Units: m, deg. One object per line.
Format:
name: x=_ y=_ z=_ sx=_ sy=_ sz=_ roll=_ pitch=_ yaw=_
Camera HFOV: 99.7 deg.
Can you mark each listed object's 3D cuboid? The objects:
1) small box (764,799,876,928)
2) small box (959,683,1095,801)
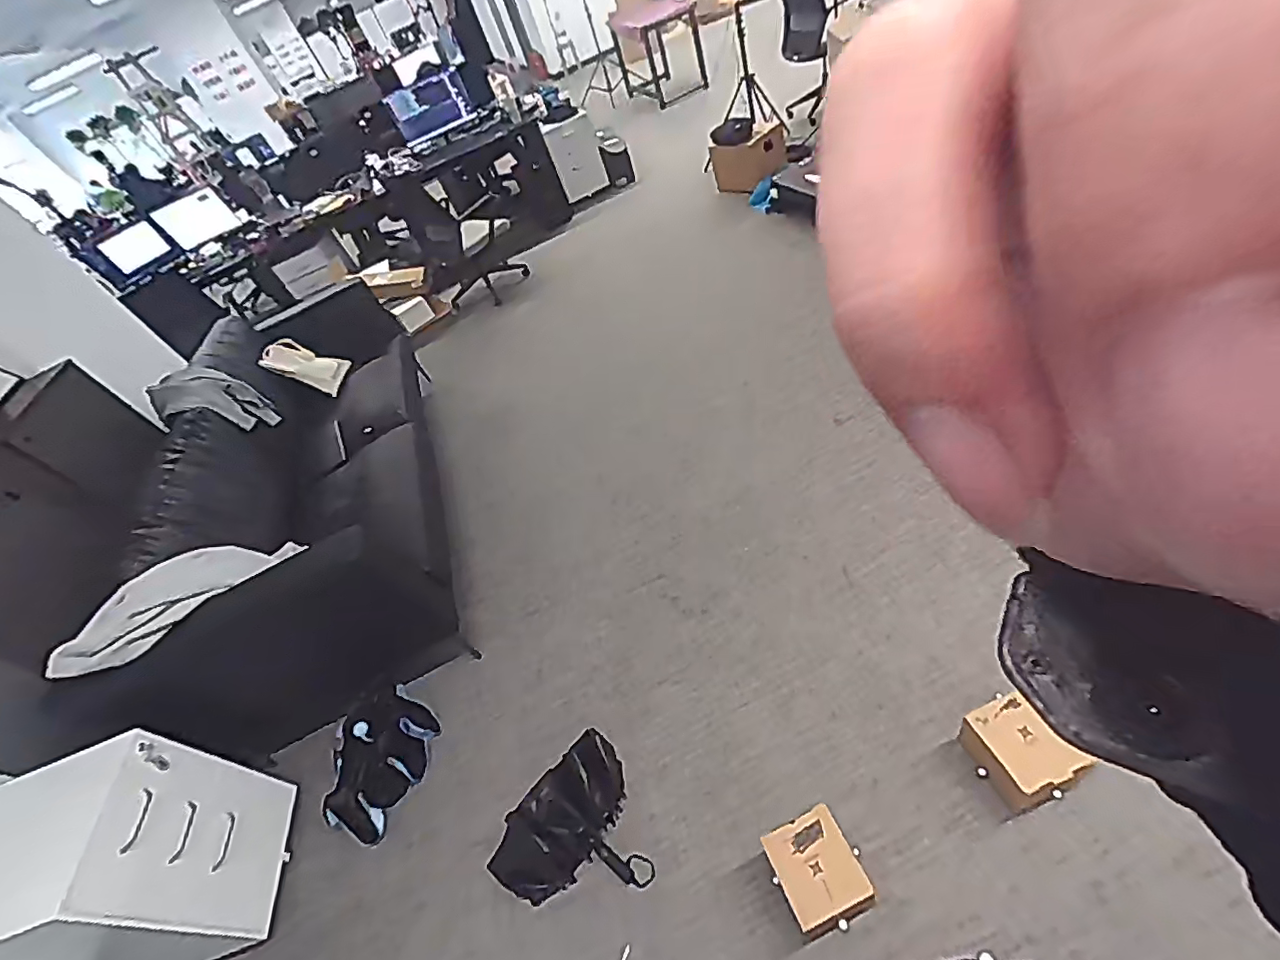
small box: x=0.396 y=0.847 z=1.191 sx=0.168 sy=0.176 sz=0.179 roll=-28 pitch=45 yaw=-1
small box: x=0.853 y=0.594 z=1.213 sx=0.168 sy=0.176 sz=0.179 roll=-26 pitch=44 yaw=1
